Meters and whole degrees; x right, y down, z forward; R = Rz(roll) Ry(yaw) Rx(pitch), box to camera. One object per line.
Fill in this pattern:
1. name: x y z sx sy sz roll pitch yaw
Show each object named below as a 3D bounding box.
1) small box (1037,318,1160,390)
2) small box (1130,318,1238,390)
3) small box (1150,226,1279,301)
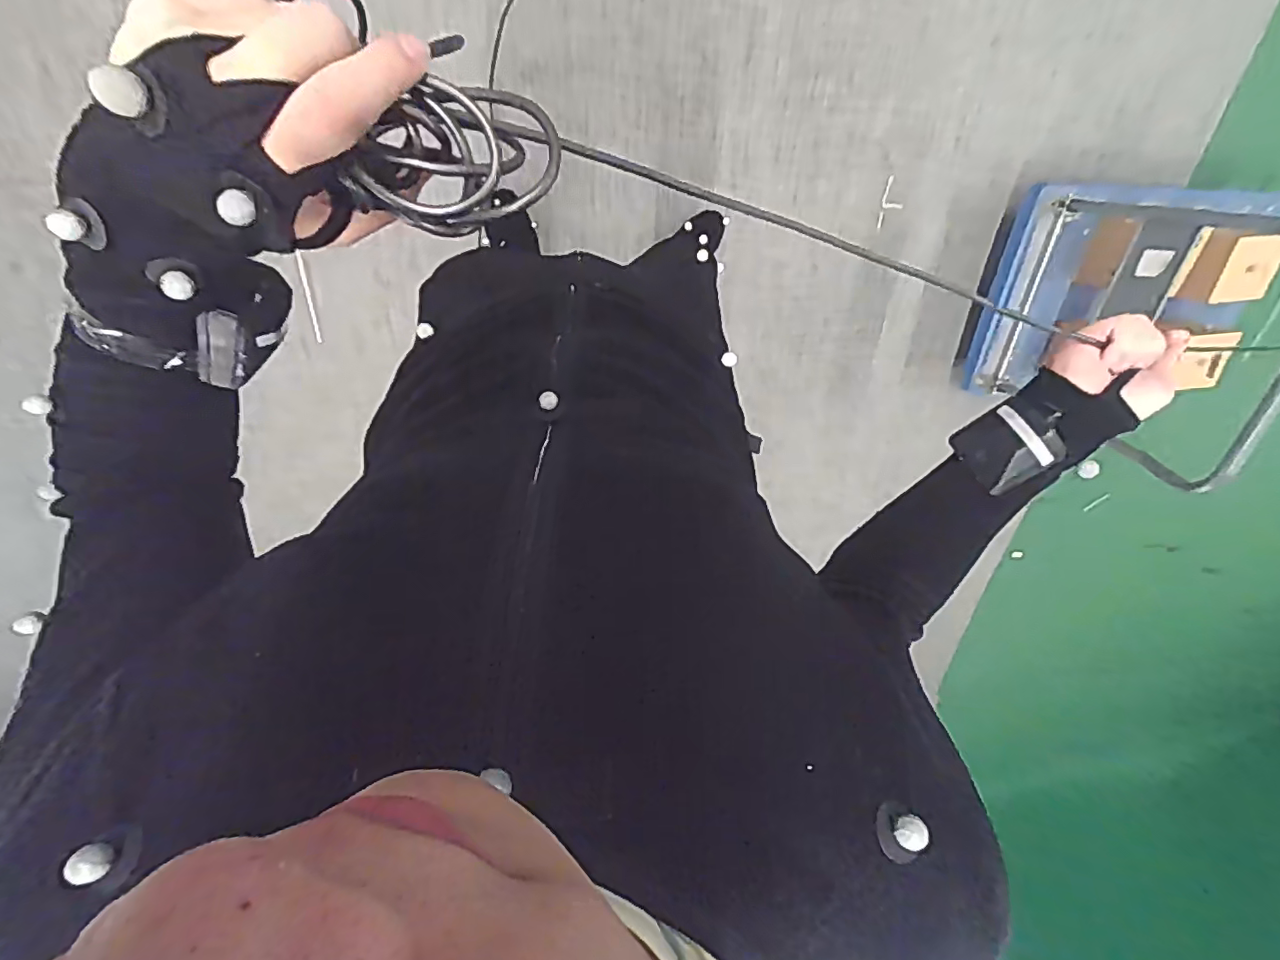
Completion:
1. small box: 1.316 -0.368 1.566 0.179 0.176 0.168 -2 121 -10
2. small box: 1.582 -0.381 1.612 0.179 0.176 0.168 -6 121 -7
3. small box: 1.575 -0.596 1.483 0.179 0.176 0.168 -6 122 -8
